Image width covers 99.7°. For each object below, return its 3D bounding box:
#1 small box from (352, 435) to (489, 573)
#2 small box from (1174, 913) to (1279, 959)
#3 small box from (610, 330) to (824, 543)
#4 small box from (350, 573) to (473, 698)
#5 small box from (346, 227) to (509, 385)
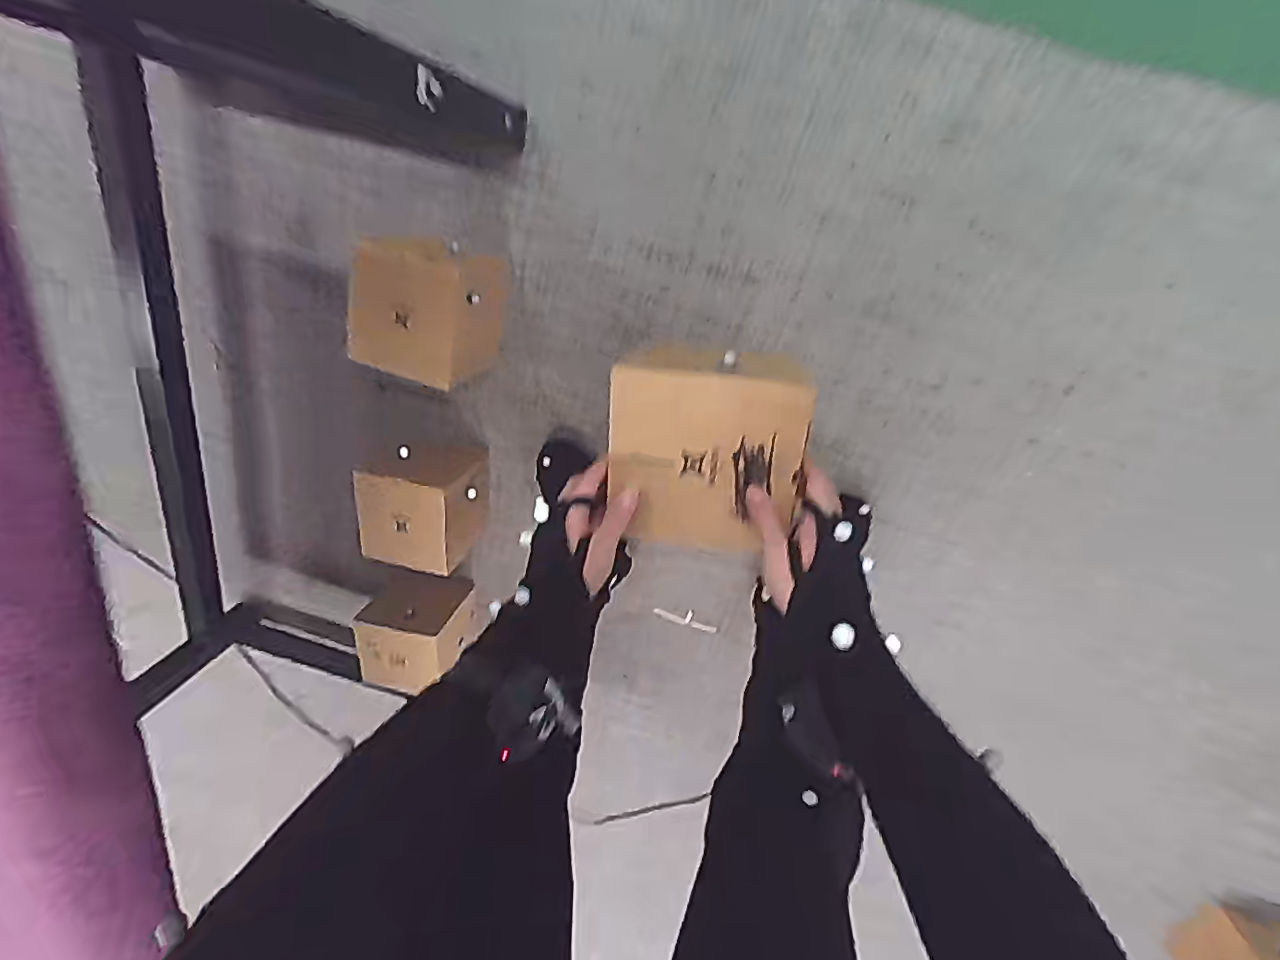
[{"bbox_3d":[-0.384,0.034,0.971,0.168,0.176,0.179,12,116,7],"label":"small box"},{"bbox_3d":[1.259,1.027,1.091,0.168,0.176,0.179,18,116,3],"label":"small box"},{"bbox_3d":[0.074,-0.056,0.557,0.179,0.176,0.168,8,113,8],"label":"small box"},{"bbox_3d":[-0.455,0.311,1.110,0.179,0.176,0.168,10,116,7],"label":"small box"},{"bbox_3d":[-0.315,-0.268,0.820,0.168,0.176,0.179,18,115,3],"label":"small box"}]
